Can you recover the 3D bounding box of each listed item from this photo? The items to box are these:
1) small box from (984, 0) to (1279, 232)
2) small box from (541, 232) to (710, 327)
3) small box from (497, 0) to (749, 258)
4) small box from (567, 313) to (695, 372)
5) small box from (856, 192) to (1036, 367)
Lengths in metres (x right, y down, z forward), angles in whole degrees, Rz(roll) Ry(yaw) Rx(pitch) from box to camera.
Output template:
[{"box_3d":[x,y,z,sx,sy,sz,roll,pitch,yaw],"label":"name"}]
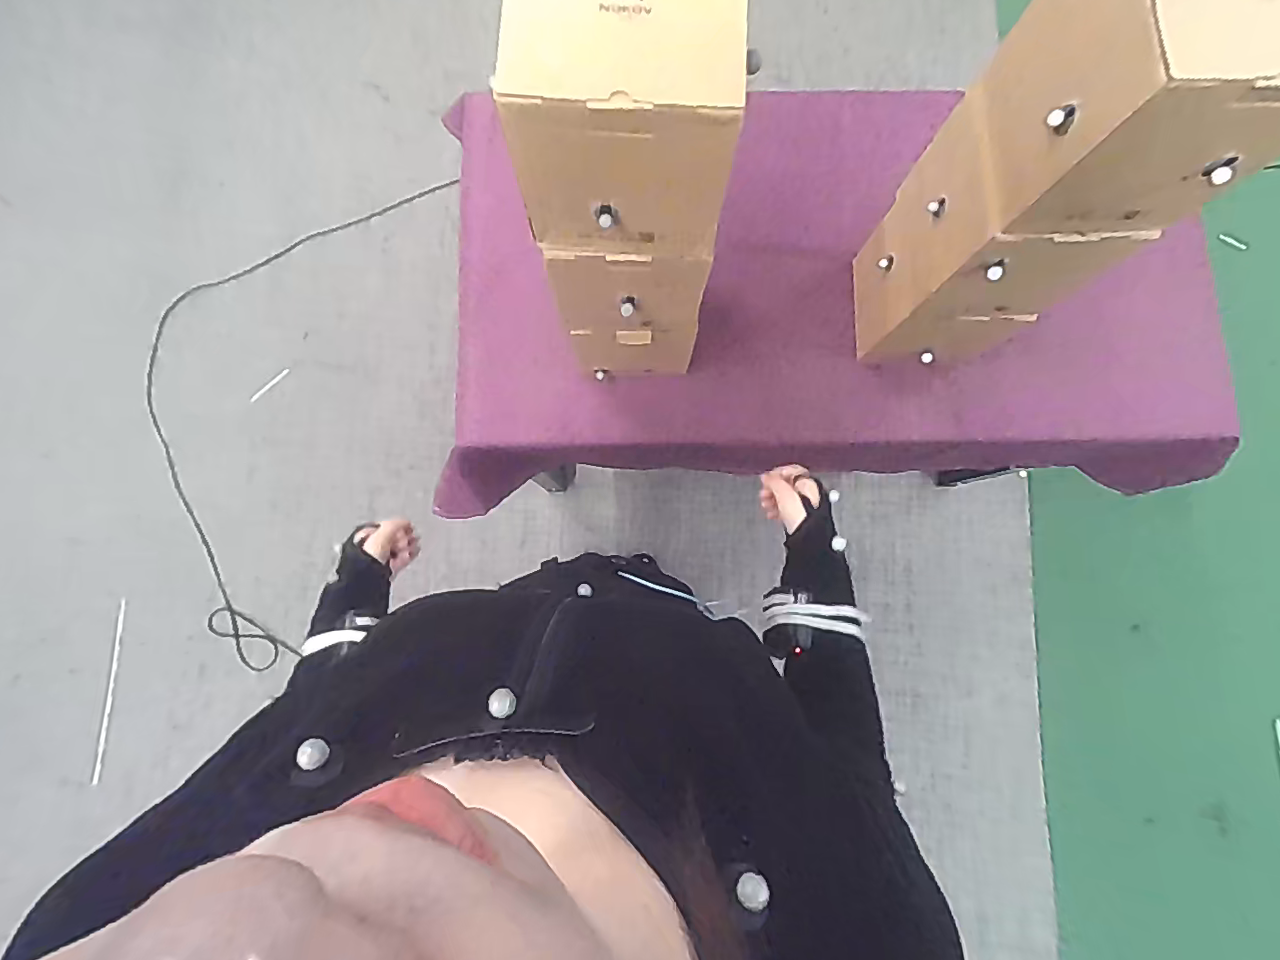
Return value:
[{"box_3d":[0.423,-0.330,0.450,0.168,0.176,0.179,-1,81,-1],"label":"small box"},{"box_3d":[-0.013,-0.283,0.605,0.168,0.176,0.179,1,83,-1],"label":"small box"},{"box_3d":[-0.009,-0.313,0.443,0.168,0.176,0.179,3,82,-1],"label":"small box"},{"box_3d":[-0.012,-0.259,0.767,0.168,0.176,0.179,-1,81,-1],"label":"small box"},{"box_3d":[0.422,-0.276,0.774,0.168,0.176,0.179,2,82,0],"label":"small box"}]
